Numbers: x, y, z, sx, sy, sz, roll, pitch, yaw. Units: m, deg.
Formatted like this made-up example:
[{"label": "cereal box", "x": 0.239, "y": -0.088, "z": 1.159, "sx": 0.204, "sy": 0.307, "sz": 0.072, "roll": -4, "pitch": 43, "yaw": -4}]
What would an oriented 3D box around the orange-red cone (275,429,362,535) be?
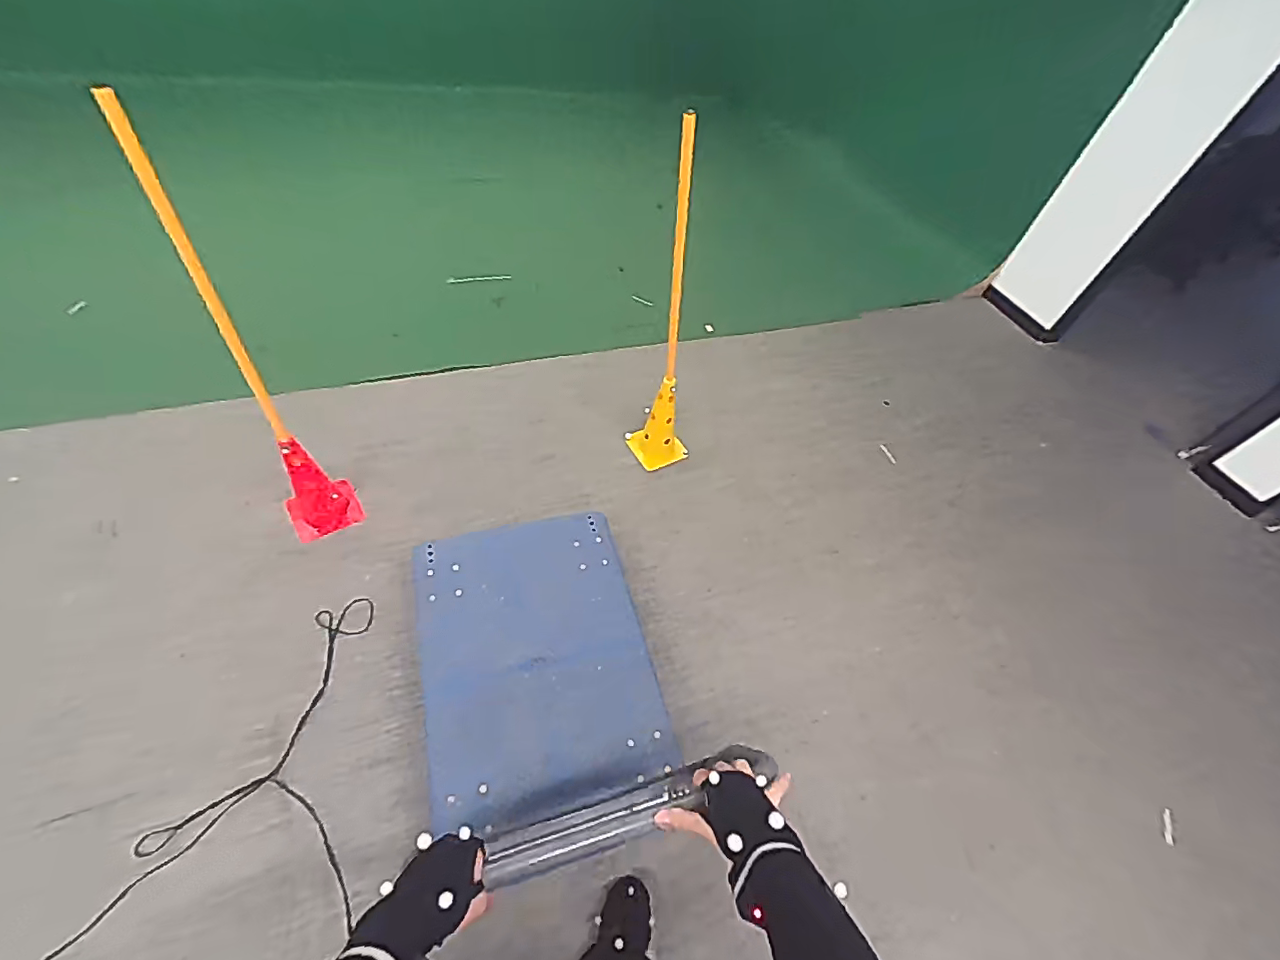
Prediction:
[{"label": "orange-red cone", "x": -1.021, "y": -0.023, "z": 1.647, "sx": 0.199, "sy": 0.360, "sz": 0.198, "roll": -26, "pitch": 60, "yaw": -24}]
